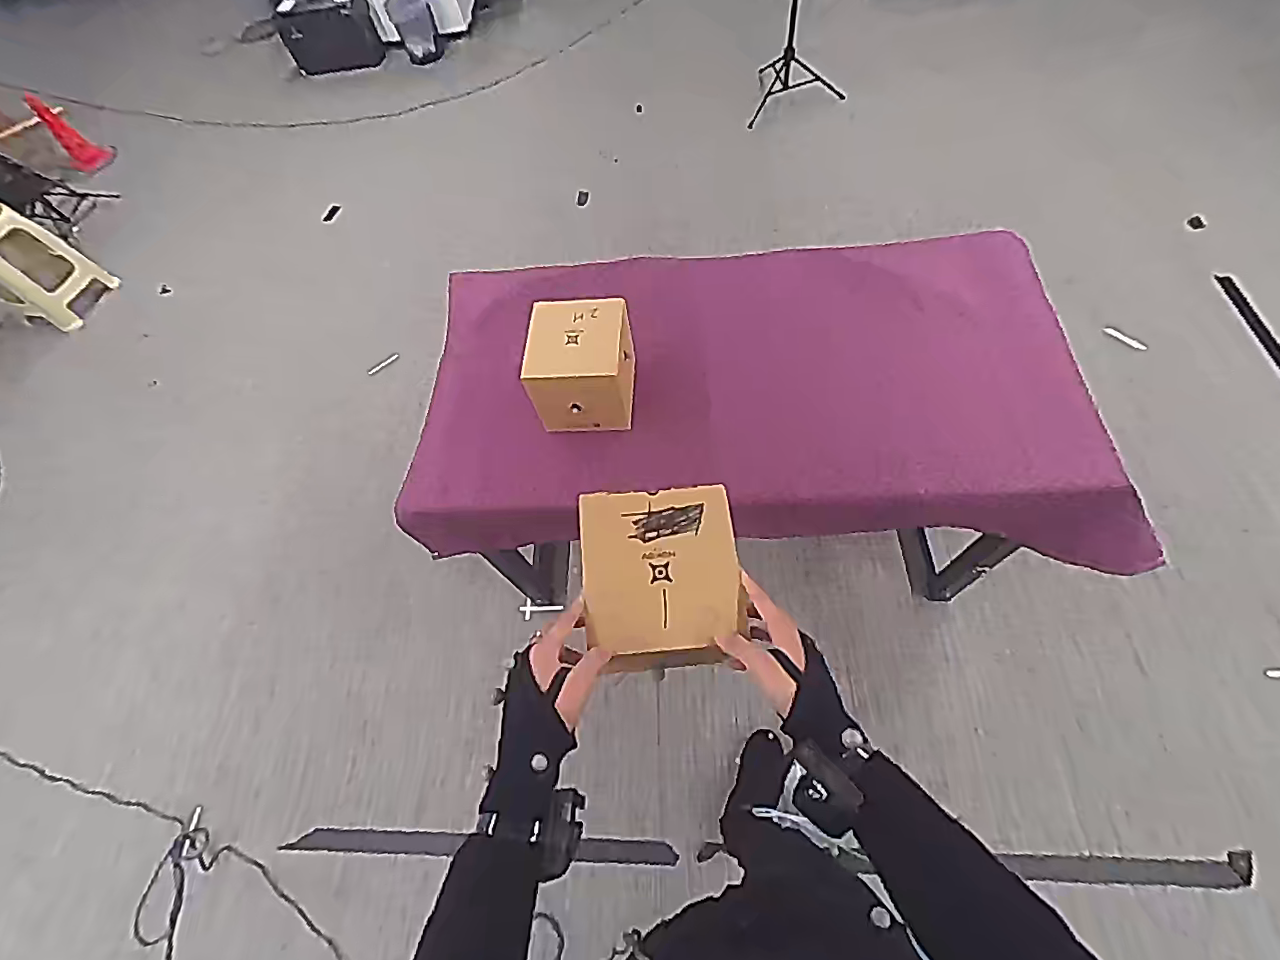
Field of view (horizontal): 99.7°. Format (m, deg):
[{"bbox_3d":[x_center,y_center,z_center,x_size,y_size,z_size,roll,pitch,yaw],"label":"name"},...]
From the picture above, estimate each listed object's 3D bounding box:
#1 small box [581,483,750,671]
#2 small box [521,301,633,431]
[{"bbox_3d":[0.019,0.120,0.639,0.168,0.176,0.179,-5,66,-3],"label":"small box"},{"bbox_3d":[-0.106,-0.203,0.998,0.168,0.176,0.179,0,62,7],"label":"small box"}]
